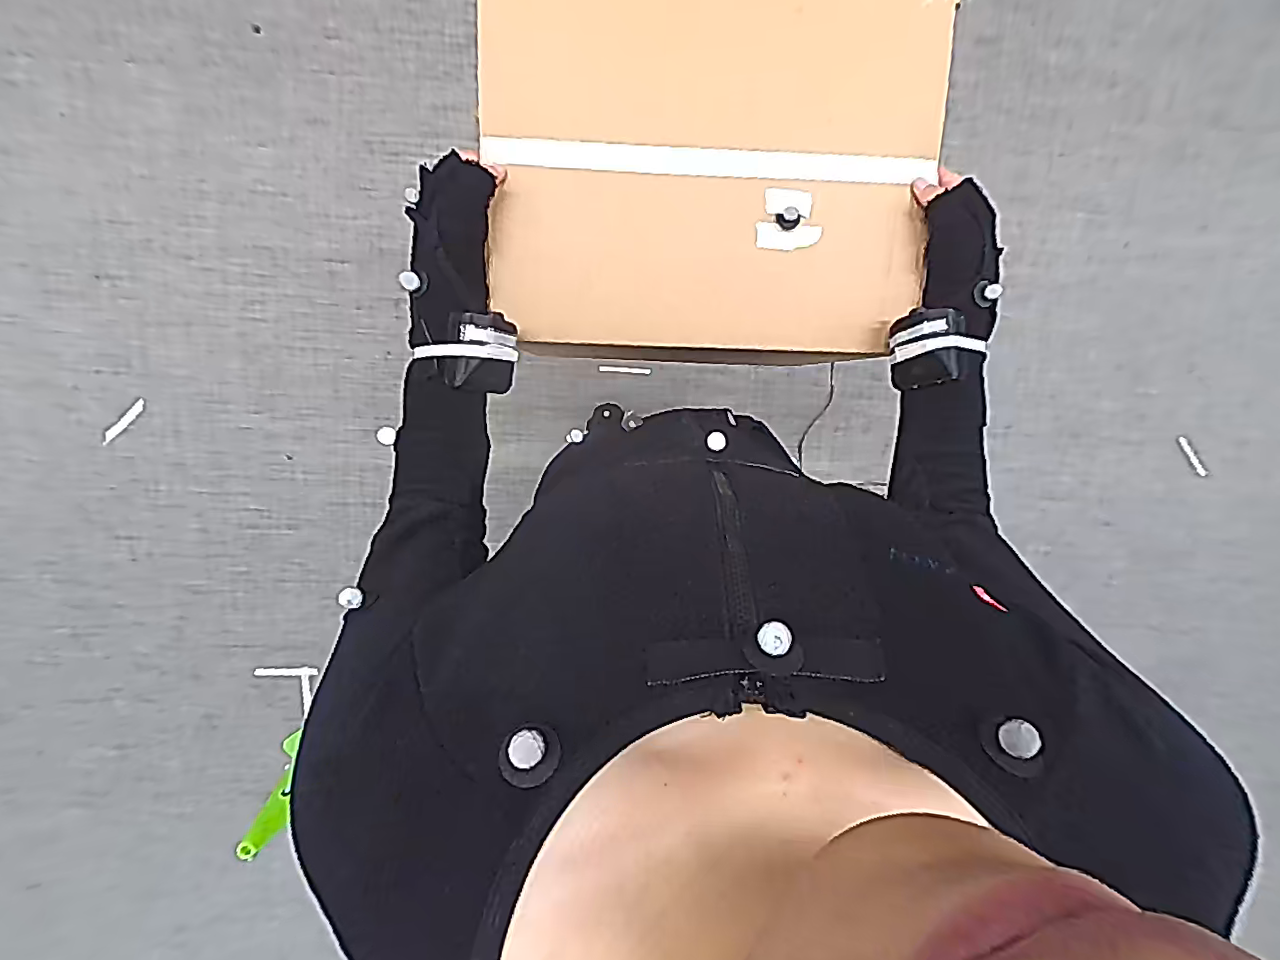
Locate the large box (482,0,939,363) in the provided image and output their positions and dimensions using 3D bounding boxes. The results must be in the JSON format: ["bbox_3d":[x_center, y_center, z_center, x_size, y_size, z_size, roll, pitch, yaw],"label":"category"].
[{"bbox_3d":[0.052,-0.303,0.629,0.408,0.320,0.320,1,100,-4],"label":"large box"}]

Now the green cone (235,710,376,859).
[{"bbox_3d":[-0.892,0.806,1.393,0.202,0.368,0.200,-35,97,5],"label":"green cone"}]
